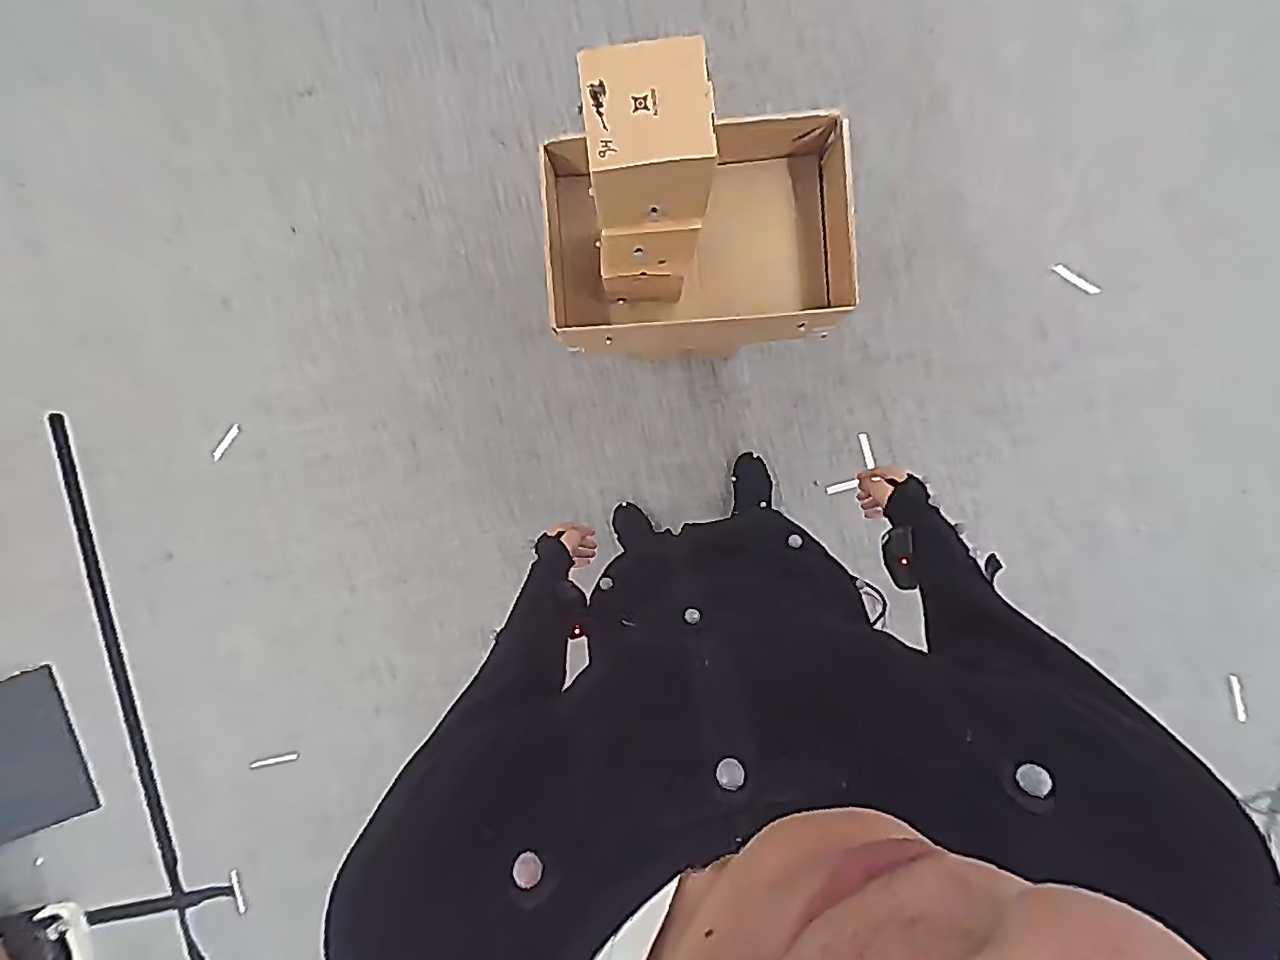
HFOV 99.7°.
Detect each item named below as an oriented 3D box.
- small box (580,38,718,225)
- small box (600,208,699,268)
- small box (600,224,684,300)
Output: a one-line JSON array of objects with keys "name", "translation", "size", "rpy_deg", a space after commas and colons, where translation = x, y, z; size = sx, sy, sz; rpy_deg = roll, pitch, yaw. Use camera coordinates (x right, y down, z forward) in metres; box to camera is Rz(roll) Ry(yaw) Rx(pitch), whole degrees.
[{"name": "small box", "translation": [0.011, -0.503, 0.802], "size": [0.179, 0.176, 0.168], "rpy_deg": [-6, 90, 0]}, {"name": "small box", "translation": [0.013, -0.494, 0.966], "size": [0.168, 0.176, 0.179], "rpy_deg": [-5, 90, 0]}, {"name": "small box", "translation": [0.006, -0.485, 1.129], "size": [0.168, 0.176, 0.179], "rpy_deg": [-1, 90, 1]}]
